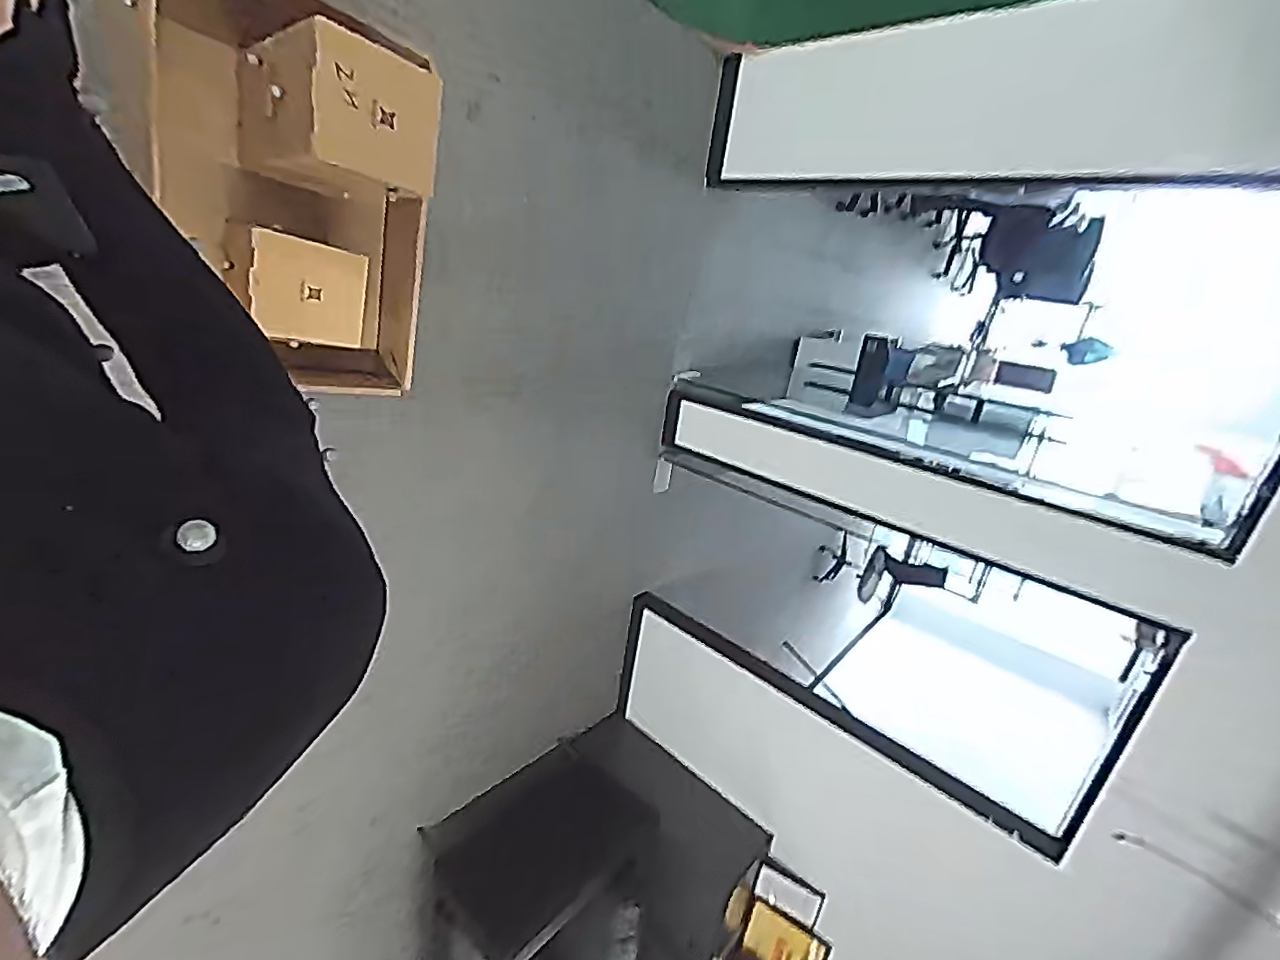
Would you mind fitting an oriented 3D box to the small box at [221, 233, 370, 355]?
[{"bbox_3d":[-0.610,-0.329,0.957,0.179,0.176,0.168,-4,112,-49],"label":"small box"}]

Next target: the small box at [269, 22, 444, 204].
[{"bbox_3d":[-0.422,-0.528,0.804,0.179,0.176,0.168,-7,113,-49],"label":"small box"}]
